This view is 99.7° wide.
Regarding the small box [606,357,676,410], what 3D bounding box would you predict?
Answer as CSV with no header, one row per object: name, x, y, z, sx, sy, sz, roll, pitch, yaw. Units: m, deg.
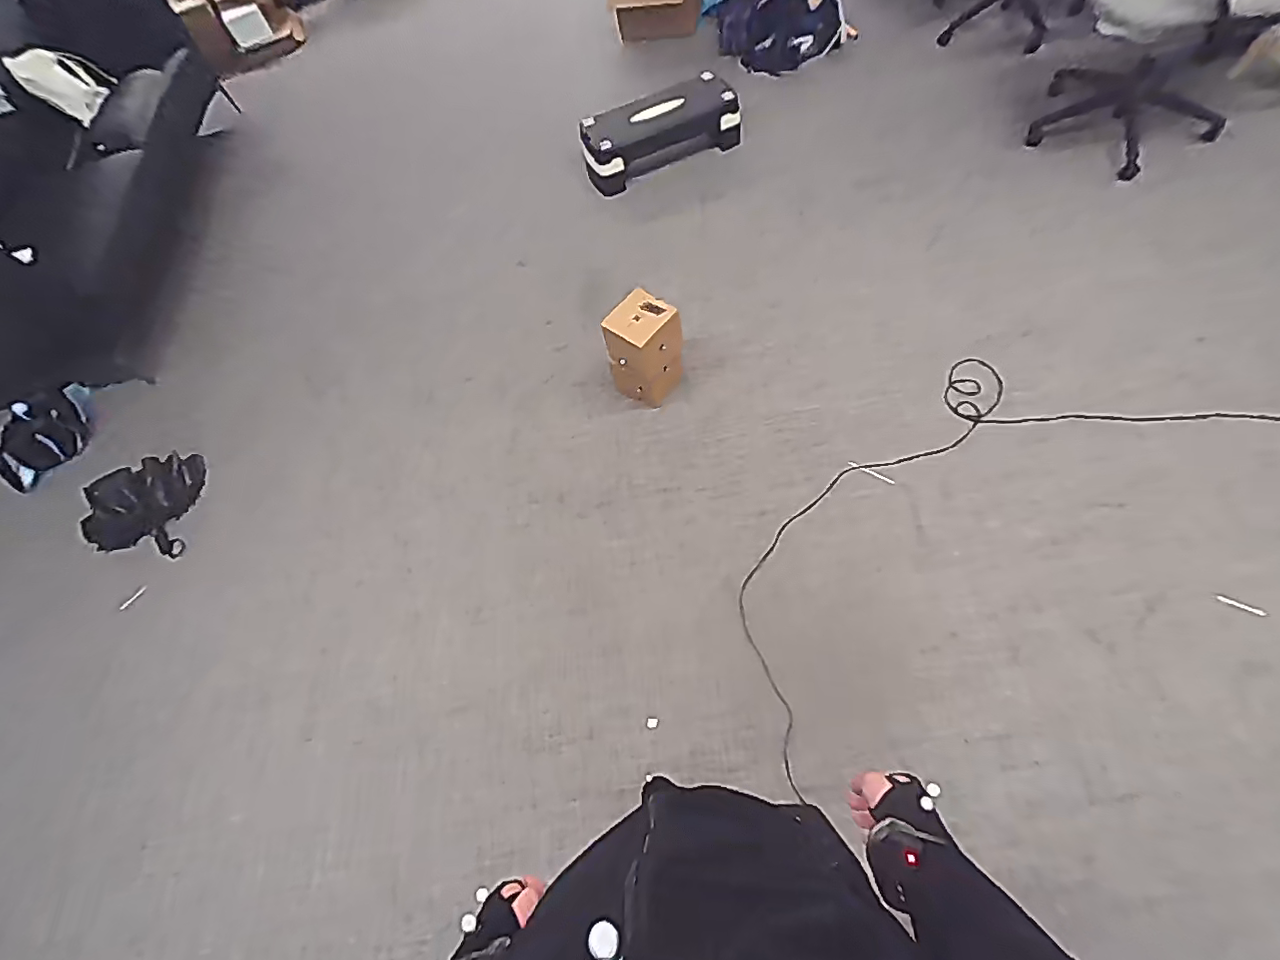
small box,0.012,-0.367,1.822,0.168,0.176,0.179,28,69,21

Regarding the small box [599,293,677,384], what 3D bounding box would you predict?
small box,0.002,-0.433,1.671,0.168,0.176,0.179,36,74,24
